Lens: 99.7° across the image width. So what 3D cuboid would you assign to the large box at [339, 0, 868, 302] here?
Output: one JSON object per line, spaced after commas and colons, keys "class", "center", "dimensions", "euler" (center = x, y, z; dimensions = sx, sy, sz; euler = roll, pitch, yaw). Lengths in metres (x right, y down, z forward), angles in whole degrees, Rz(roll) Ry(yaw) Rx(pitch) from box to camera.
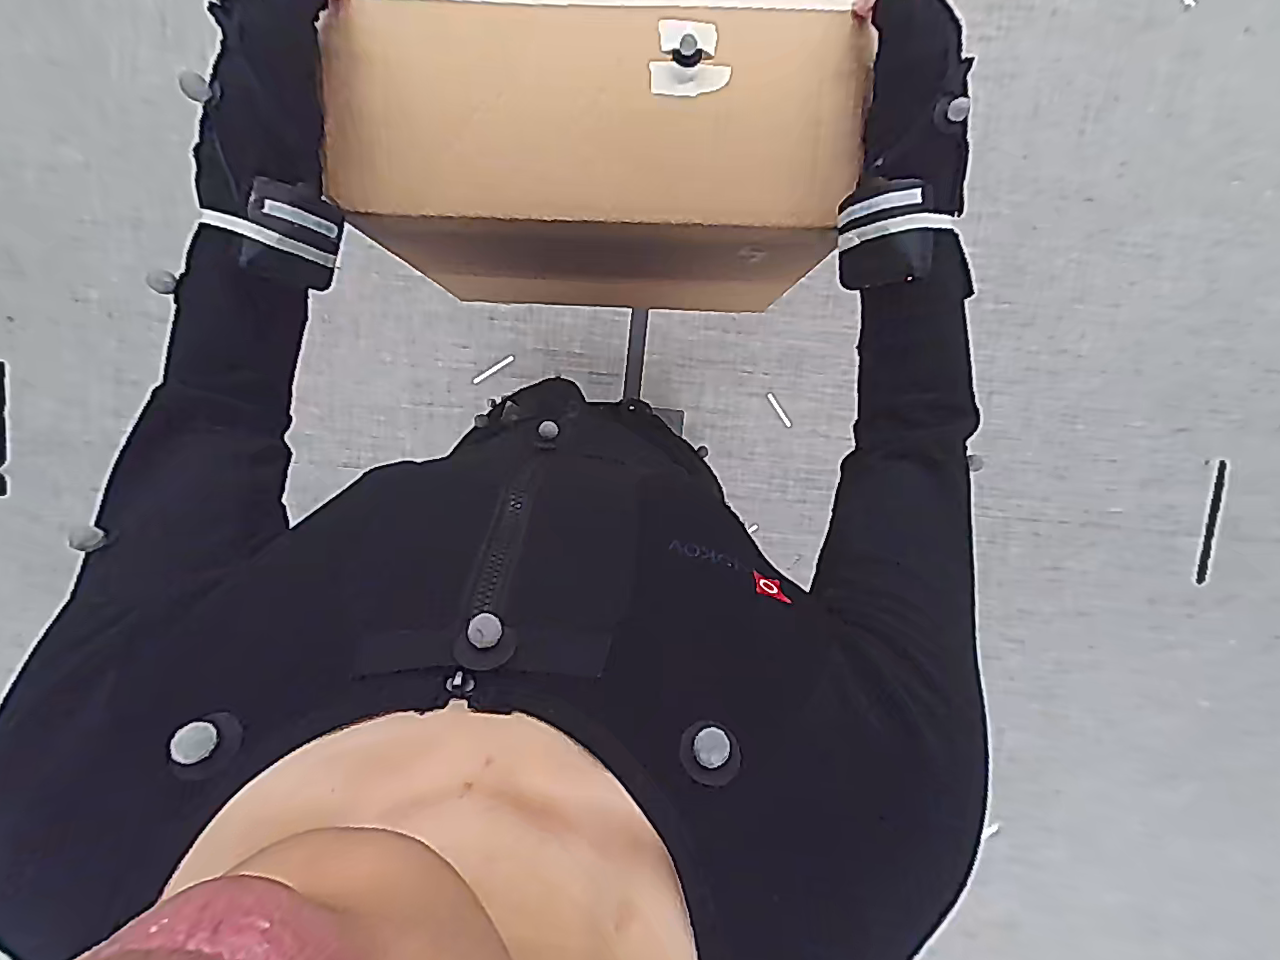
{"class": "large box", "center": [-0.029, -0.375, 0.553], "dimensions": [0.408, 0.320, 0.320], "euler": [2, 97, -1]}
